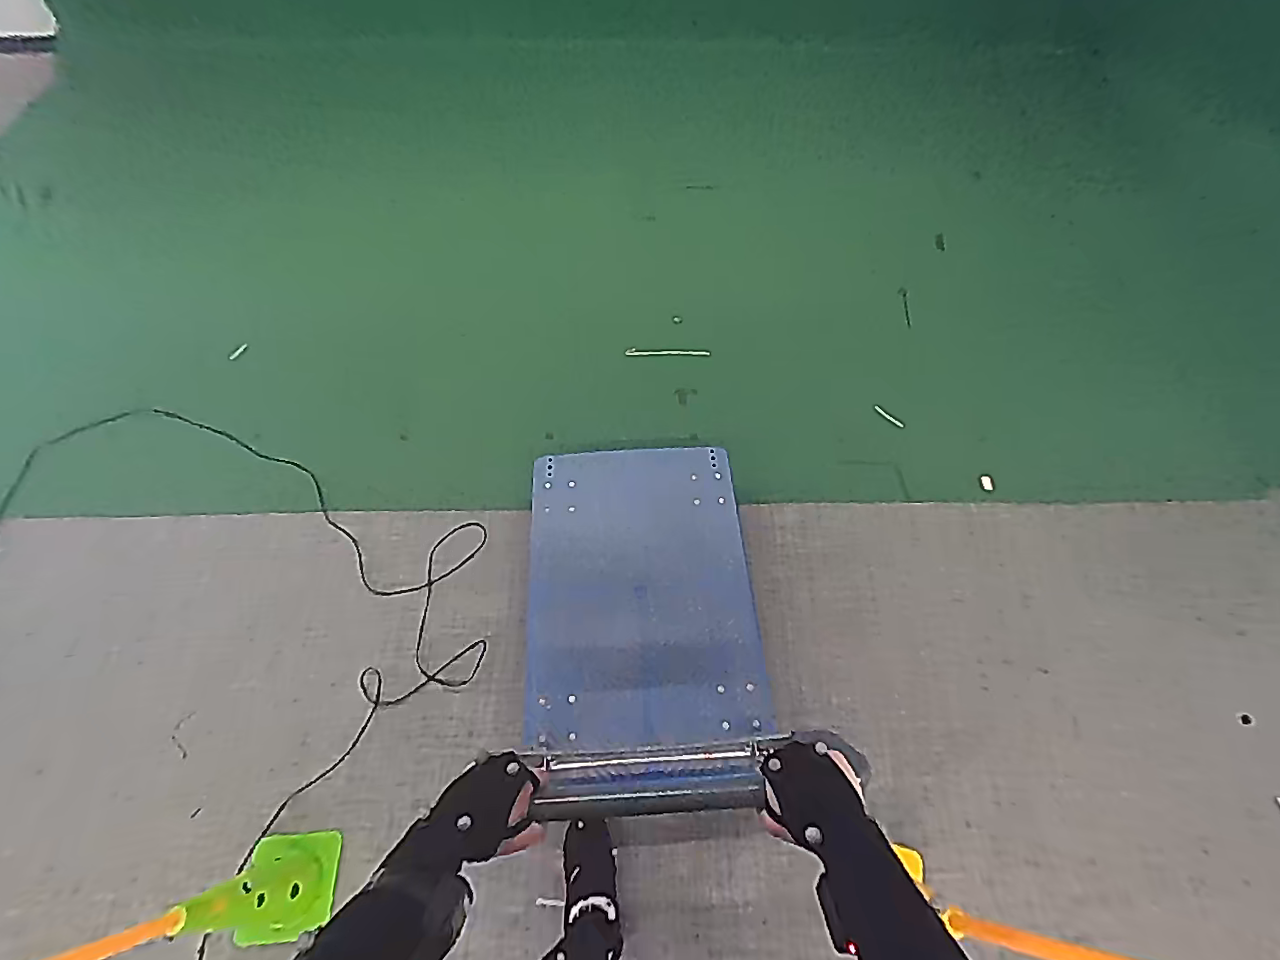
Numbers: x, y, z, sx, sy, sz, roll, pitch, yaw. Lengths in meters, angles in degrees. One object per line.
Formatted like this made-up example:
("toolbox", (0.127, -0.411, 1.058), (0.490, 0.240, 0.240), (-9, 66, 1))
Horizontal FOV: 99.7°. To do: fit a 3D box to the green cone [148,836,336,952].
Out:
("green cone", (-0.800, 0.839, 1.066), (0.202, 0.368, 0.200), (-5, 60, -1))
